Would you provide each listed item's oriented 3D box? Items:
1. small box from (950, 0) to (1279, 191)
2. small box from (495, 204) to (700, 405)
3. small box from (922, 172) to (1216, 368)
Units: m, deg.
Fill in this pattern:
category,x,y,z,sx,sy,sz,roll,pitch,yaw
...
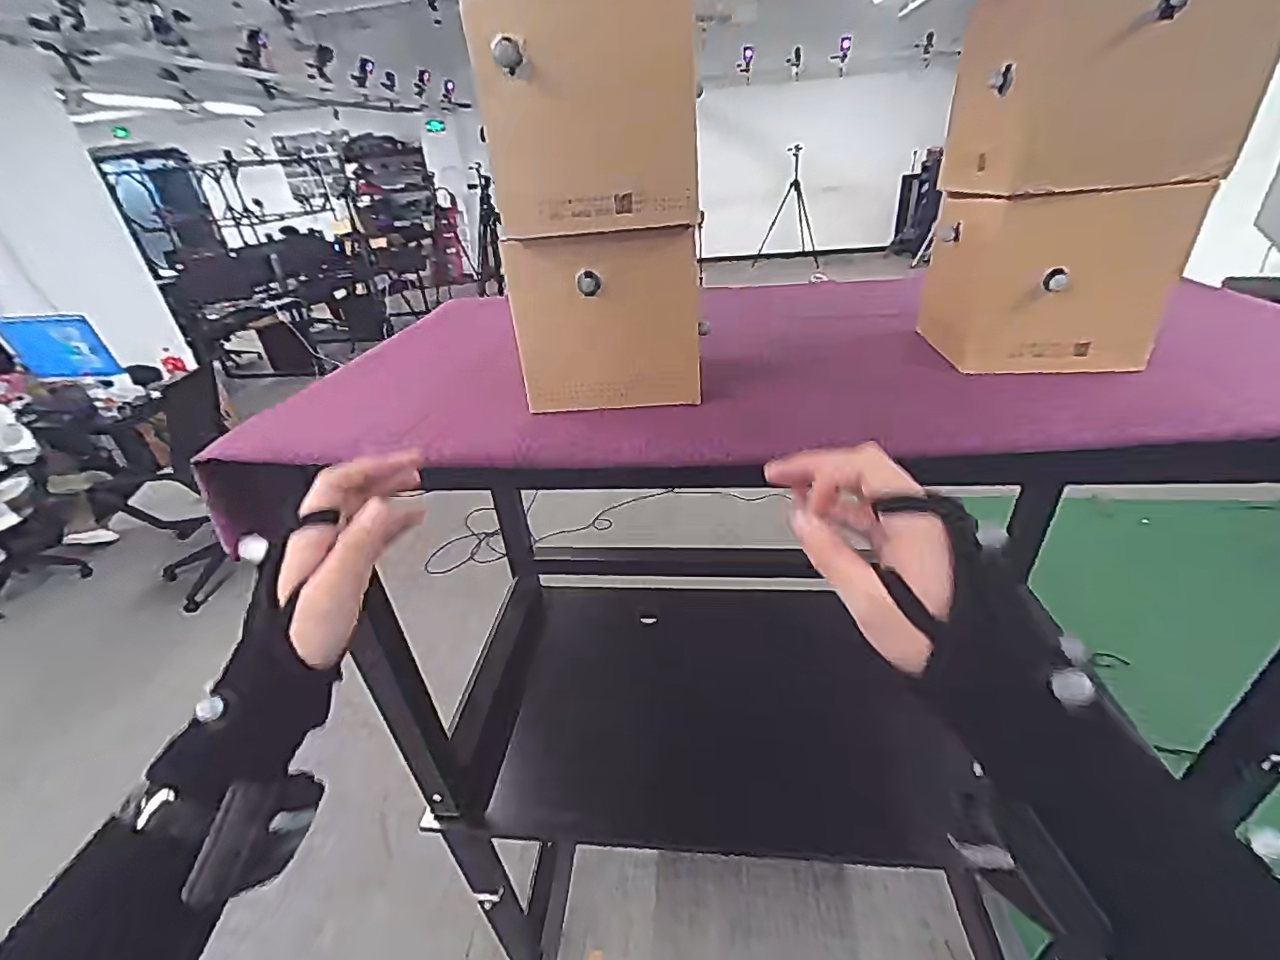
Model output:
category,x,y,z,sx,sy,sz,roll,pitch,yaw
small box,0.399,-0.358,0.479,0.179,0.176,0.168,-1,31,8
small box,-0.031,-0.186,0.571,0.179,0.176,0.168,-3,31,4
small box,0.416,-0.221,0.567,0.168,0.176,0.179,1,30,11
